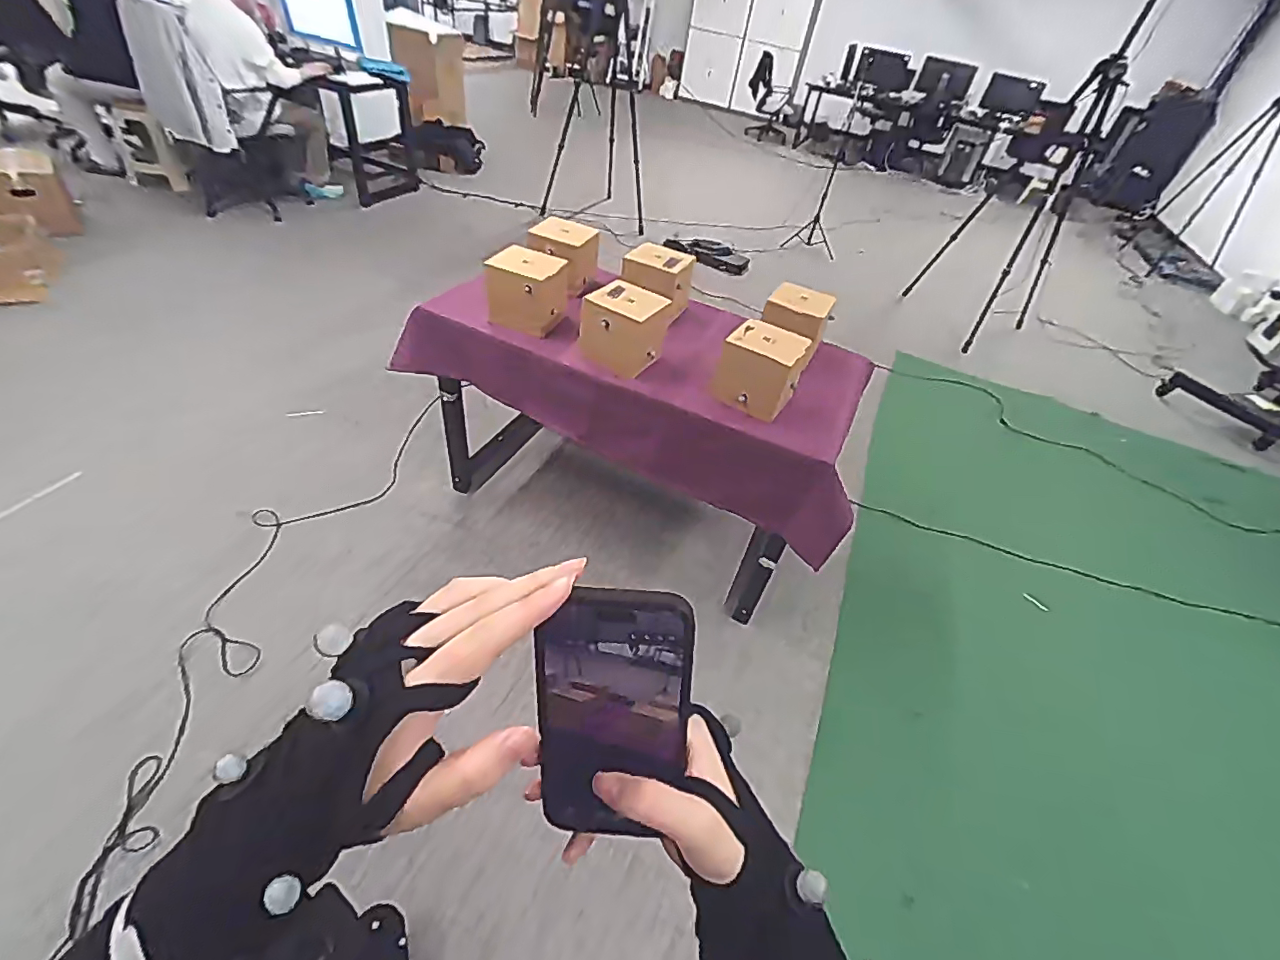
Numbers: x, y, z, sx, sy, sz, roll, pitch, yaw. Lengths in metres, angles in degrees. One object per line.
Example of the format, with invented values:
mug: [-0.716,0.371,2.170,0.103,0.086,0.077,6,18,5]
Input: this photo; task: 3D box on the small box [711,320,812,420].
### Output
small box: [0.306,-0.276,1.382,0.179,0.176,0.168,29,45,17]

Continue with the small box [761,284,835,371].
small box: [0.451,-0.451,1.598,0.168,0.176,0.179,25,45,16]

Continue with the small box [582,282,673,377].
small box: [-0.040,-0.398,1.439,0.179,0.176,0.168,28,45,16]

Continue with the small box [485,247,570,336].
small box: [-0.315,-0.526,1.517,0.179,0.176,0.168,20,43,7]
